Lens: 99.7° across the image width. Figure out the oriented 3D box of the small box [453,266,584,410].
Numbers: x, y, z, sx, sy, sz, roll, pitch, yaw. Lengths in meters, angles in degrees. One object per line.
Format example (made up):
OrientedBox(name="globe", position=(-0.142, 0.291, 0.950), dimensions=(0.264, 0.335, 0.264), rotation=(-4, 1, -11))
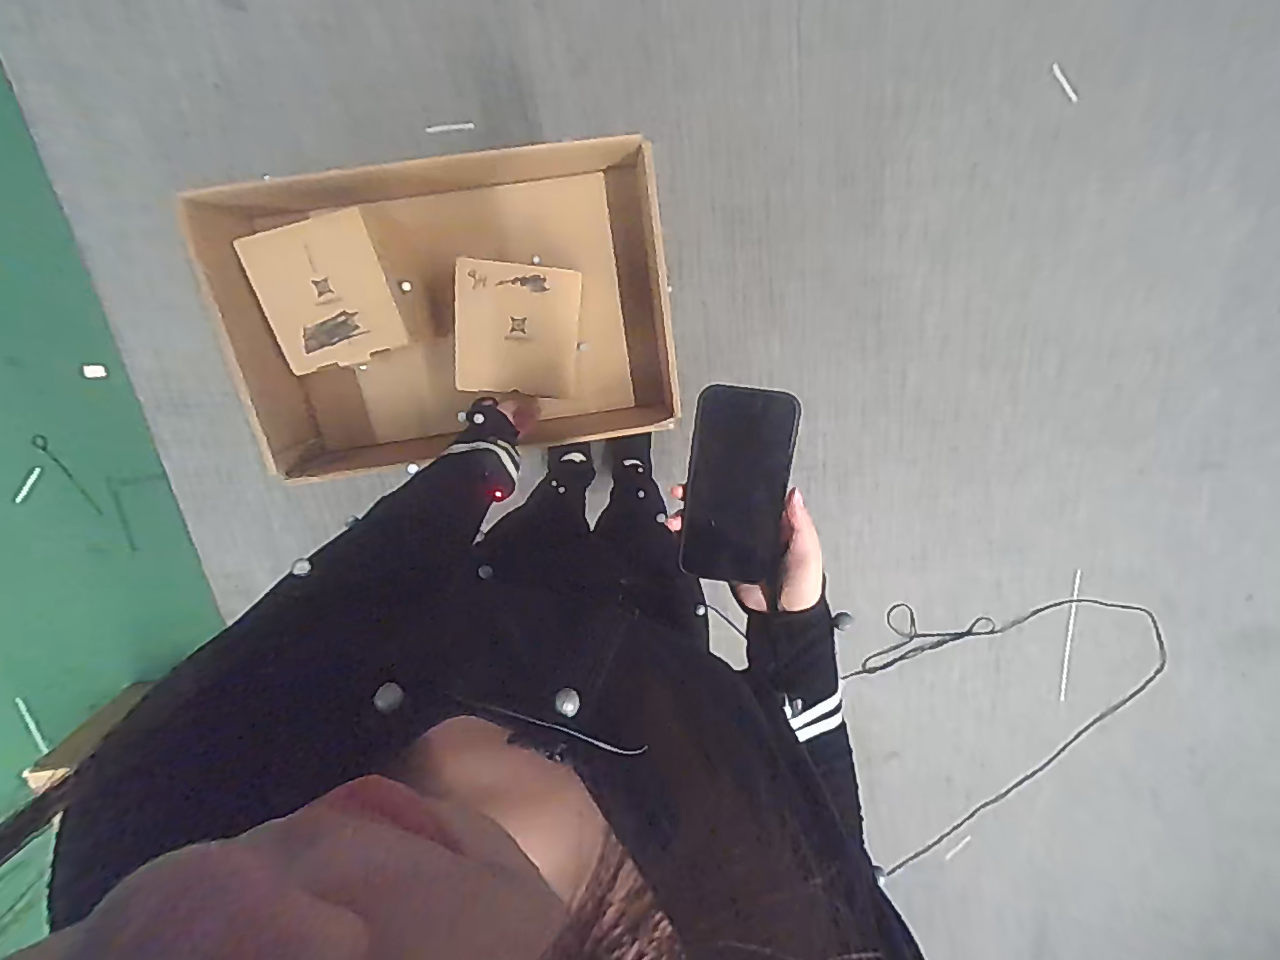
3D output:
OrientedBox(name="small box", position=(-0.174, -0.214, 0.809), dimensions=(0.168, 0.176, 0.179), rotation=(5, 108, -6))
